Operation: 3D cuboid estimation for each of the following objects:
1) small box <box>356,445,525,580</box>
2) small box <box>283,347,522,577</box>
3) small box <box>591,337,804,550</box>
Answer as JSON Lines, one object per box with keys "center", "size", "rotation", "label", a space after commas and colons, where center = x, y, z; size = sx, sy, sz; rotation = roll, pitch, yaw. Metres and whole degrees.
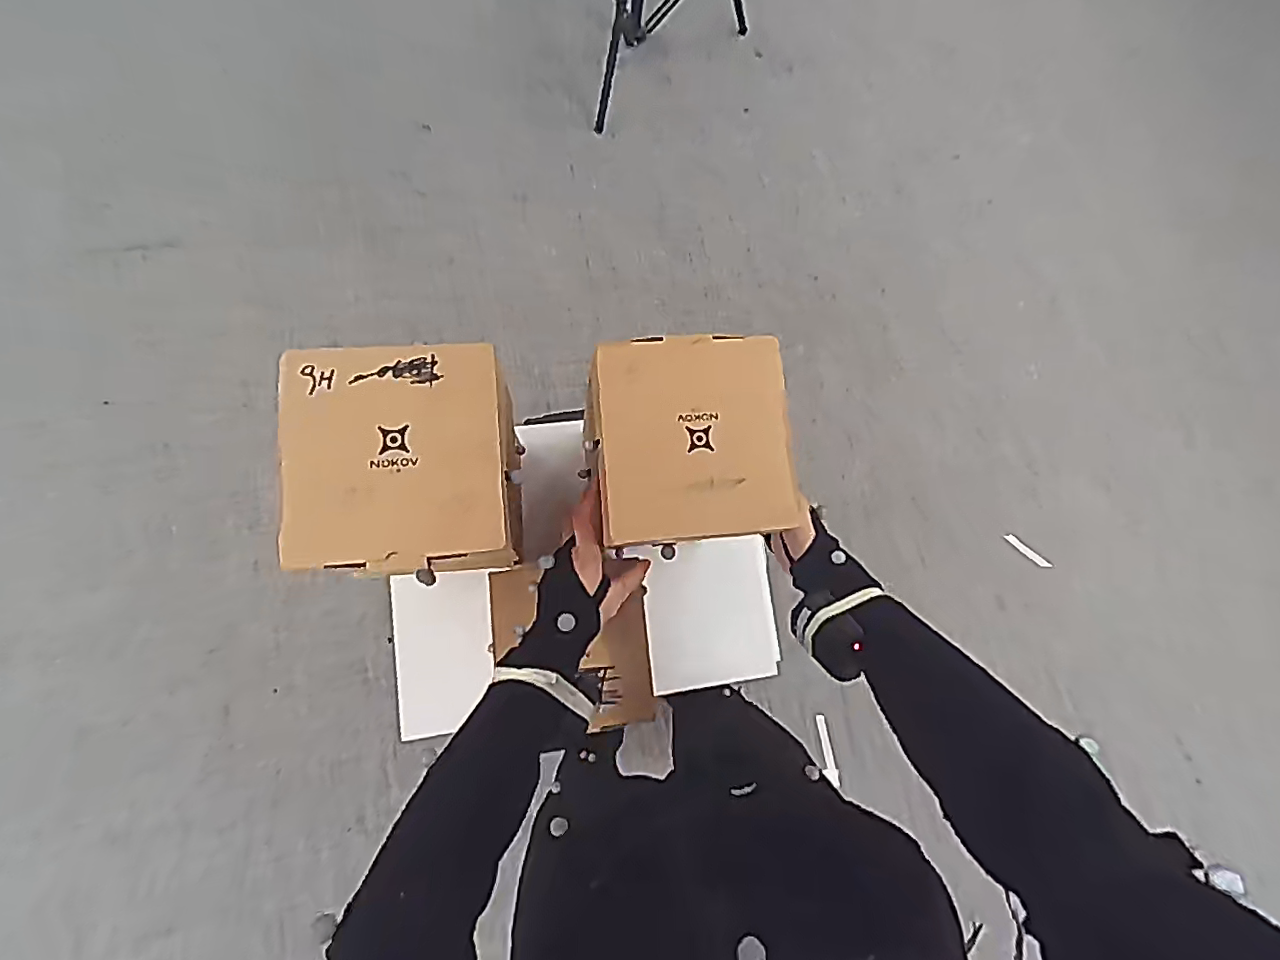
{"center": [-0.231, 0.026, 0.661], "size": [0.168, 0.176, 0.179], "rotation": [-3, 81, -9], "label": "small box"}
{"center": [-0.202, -0.008, 0.503], "size": [0.168, 0.176, 0.179], "rotation": [-4, 82, -9], "label": "small box"}
{"center": [0.041, -0.025, 0.538], "size": [0.168, 0.176, 0.179], "rotation": [-5, 83, -8], "label": "small box"}
